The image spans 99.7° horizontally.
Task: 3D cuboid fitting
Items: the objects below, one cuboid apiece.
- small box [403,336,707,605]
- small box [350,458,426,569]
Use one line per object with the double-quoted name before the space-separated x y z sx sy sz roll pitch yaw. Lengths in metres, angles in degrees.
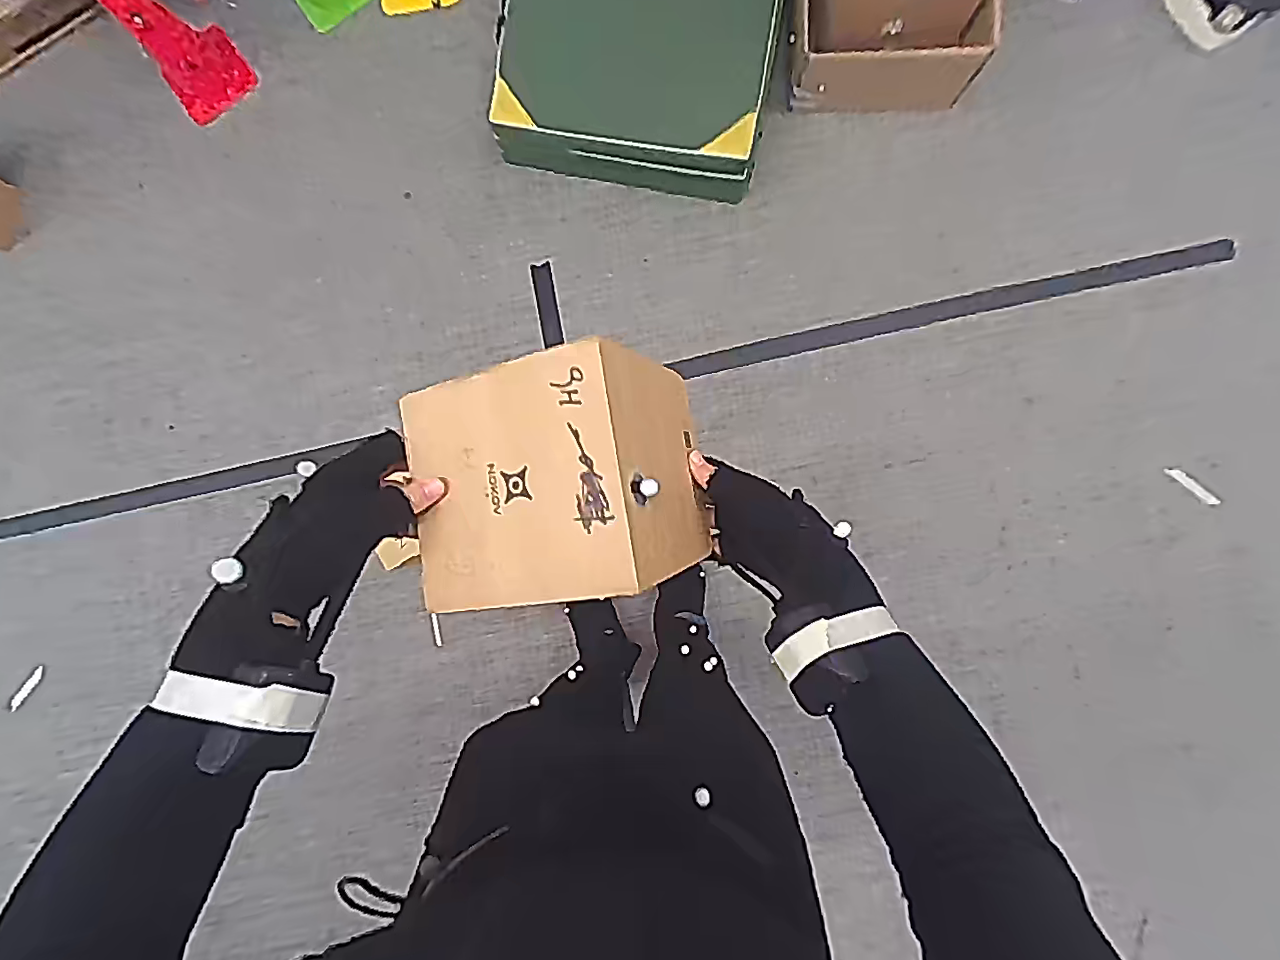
"small box" -0.060 0.000 0.453 0.179 0.176 0.168 -12 87 23
"small box" -0.434 0.058 1.093 0.168 0.176 0.179 -26 89 4
